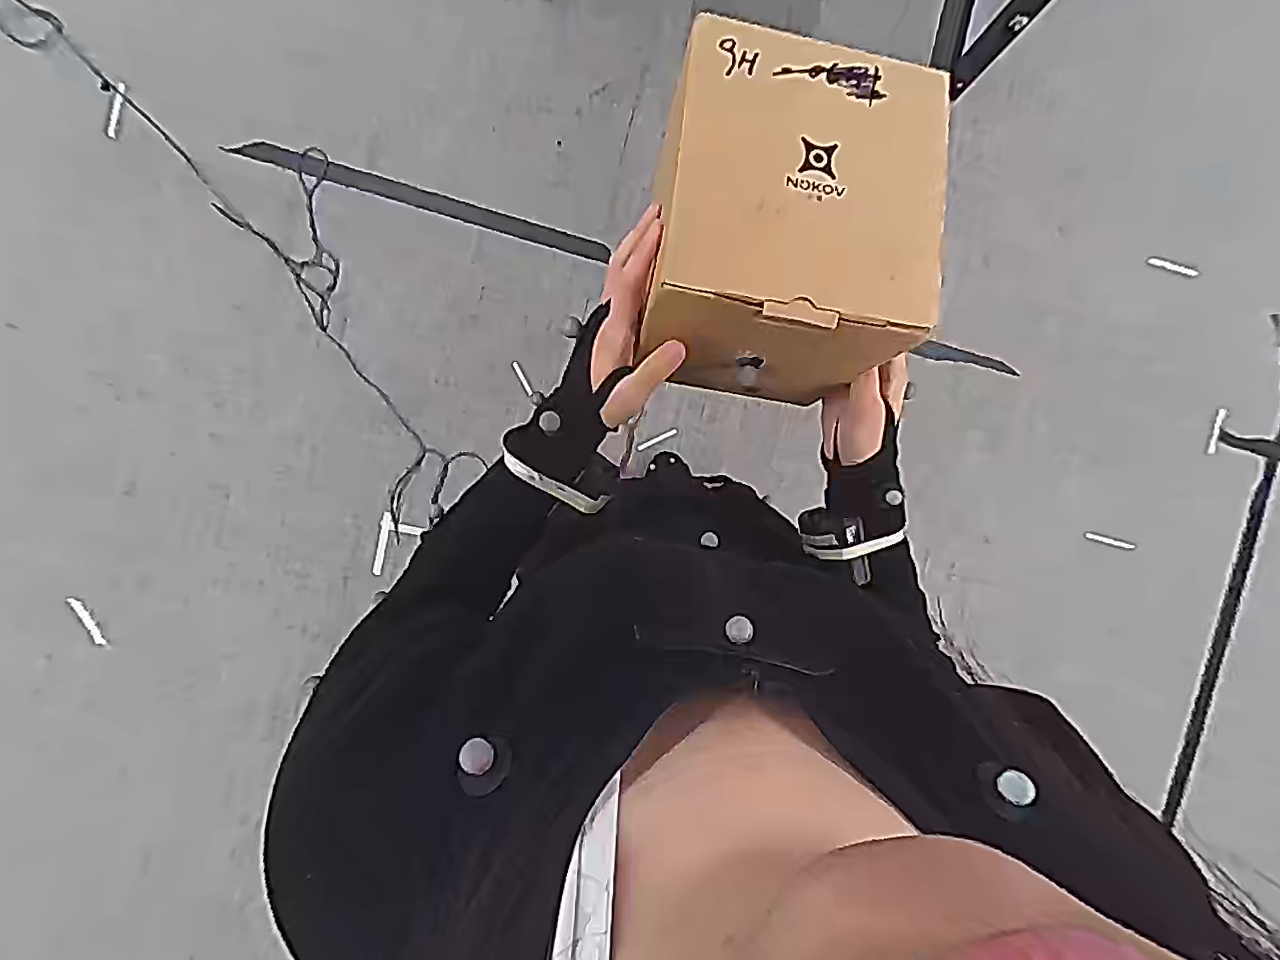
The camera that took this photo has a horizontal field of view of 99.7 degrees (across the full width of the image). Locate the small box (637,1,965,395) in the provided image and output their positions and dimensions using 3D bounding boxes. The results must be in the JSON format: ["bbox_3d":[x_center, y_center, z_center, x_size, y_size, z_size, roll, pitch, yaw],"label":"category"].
[{"bbox_3d":[0.095,-0.172,0.389,0.168,0.176,0.179,9,83,-7],"label":"small box"}]
